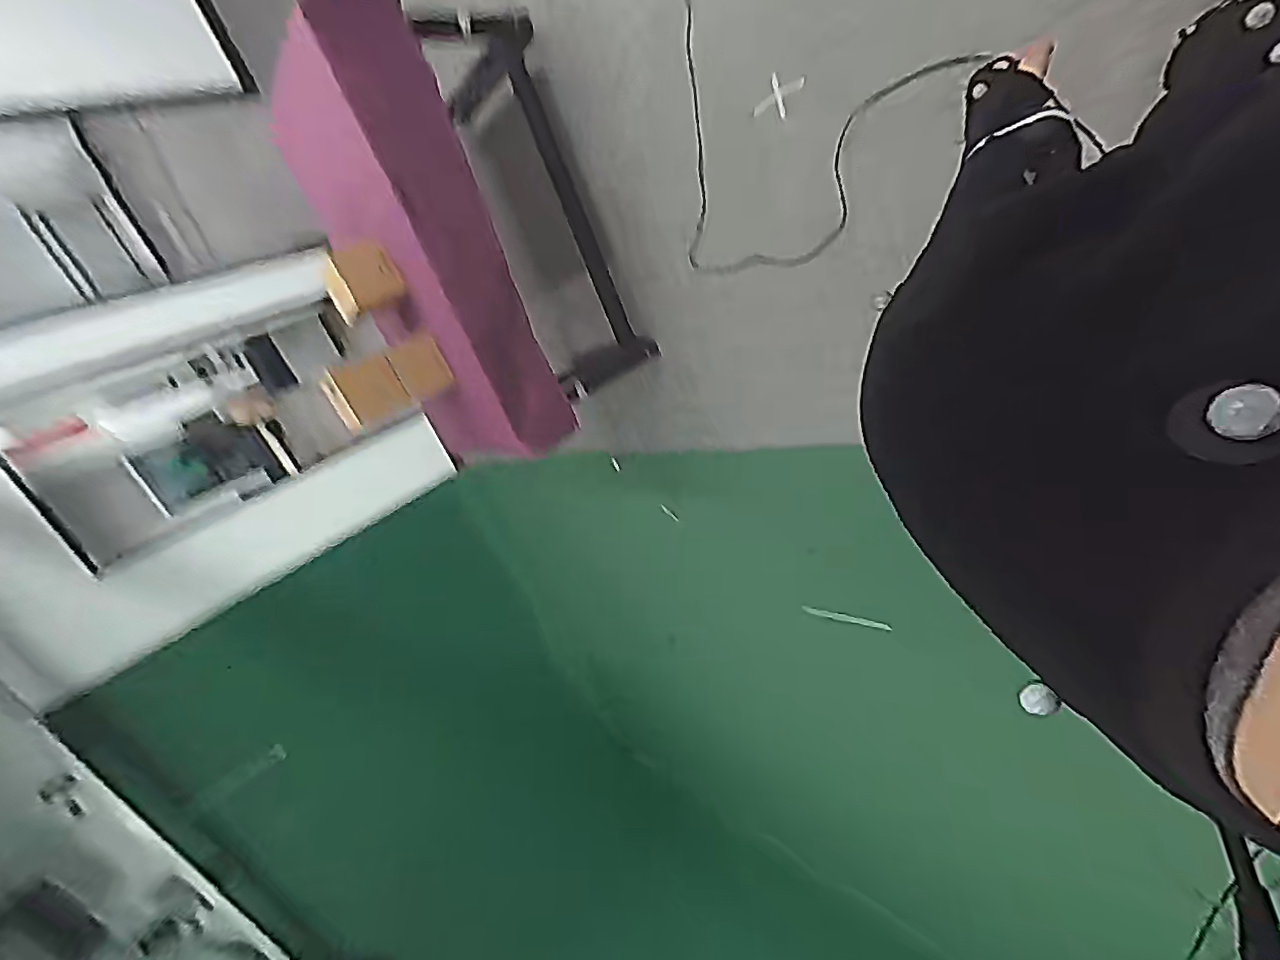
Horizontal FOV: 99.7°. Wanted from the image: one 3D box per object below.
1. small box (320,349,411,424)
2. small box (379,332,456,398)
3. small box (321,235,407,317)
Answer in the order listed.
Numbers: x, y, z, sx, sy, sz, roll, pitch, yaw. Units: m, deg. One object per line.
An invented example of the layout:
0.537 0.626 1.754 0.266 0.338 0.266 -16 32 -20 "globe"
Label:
-0.851 -0.294 1.682 0.168 0.176 0.179 -2 119 50 "small box"
-0.742 -0.375 1.776 0.168 0.176 0.179 -2 118 50 "small box"
-0.858 -0.635 1.685 0.179 0.176 0.168 -10 112 52 "small box"
